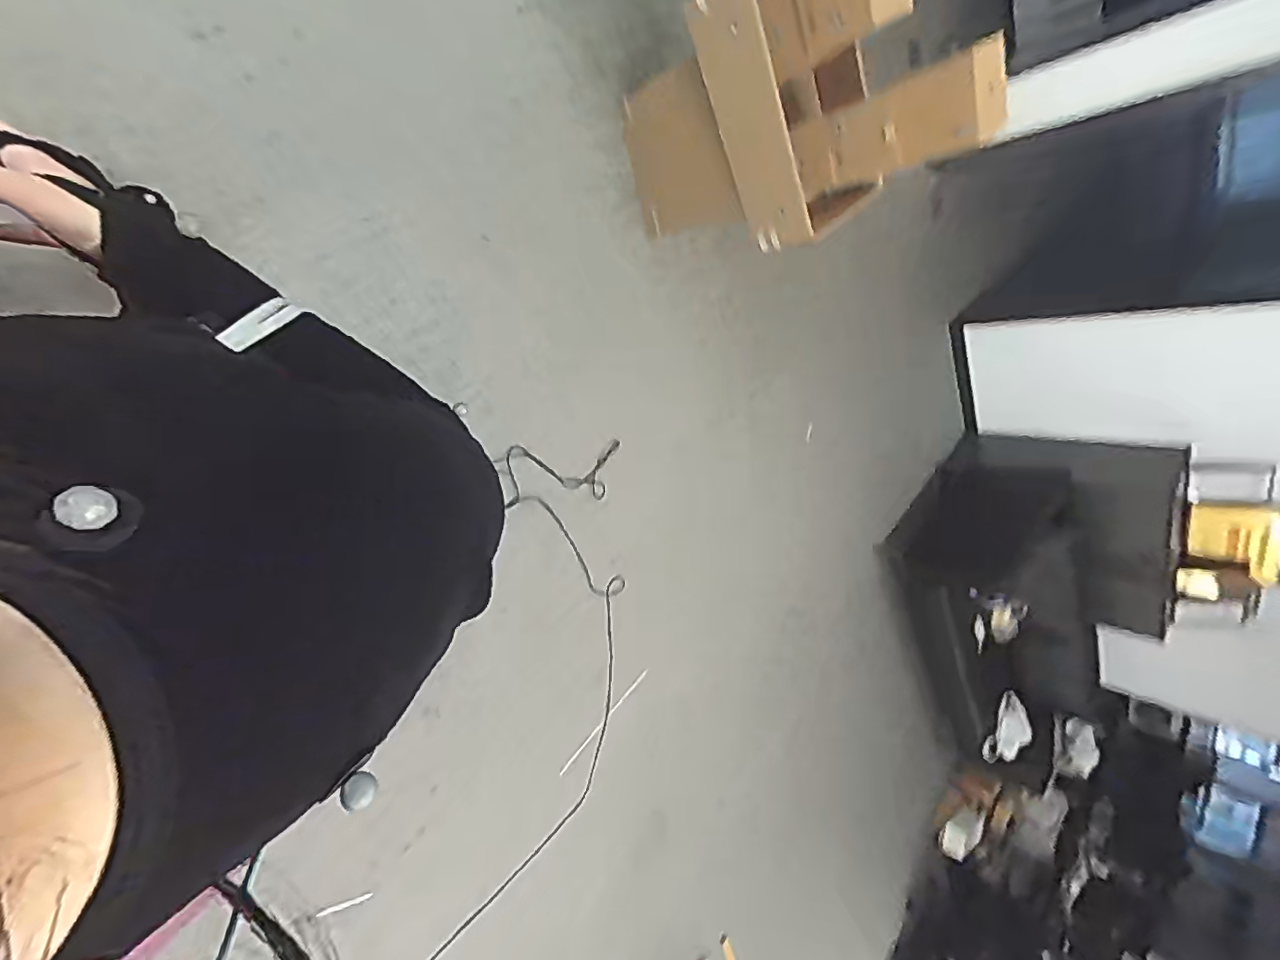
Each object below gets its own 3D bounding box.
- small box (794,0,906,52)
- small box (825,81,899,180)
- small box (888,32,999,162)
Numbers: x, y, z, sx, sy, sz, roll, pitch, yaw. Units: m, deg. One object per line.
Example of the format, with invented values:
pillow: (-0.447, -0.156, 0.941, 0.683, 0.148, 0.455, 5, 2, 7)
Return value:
small box: (0.455, -1.088, 1.193, 0.179, 0.176, 0.168, -42, 123, -26)
small box: (0.577, -0.872, 1.338, 0.179, 0.176, 0.168, -40, 121, -28)
small box: (0.679, -0.852, 1.213, 0.168, 0.176, 0.179, -40, 122, -27)
